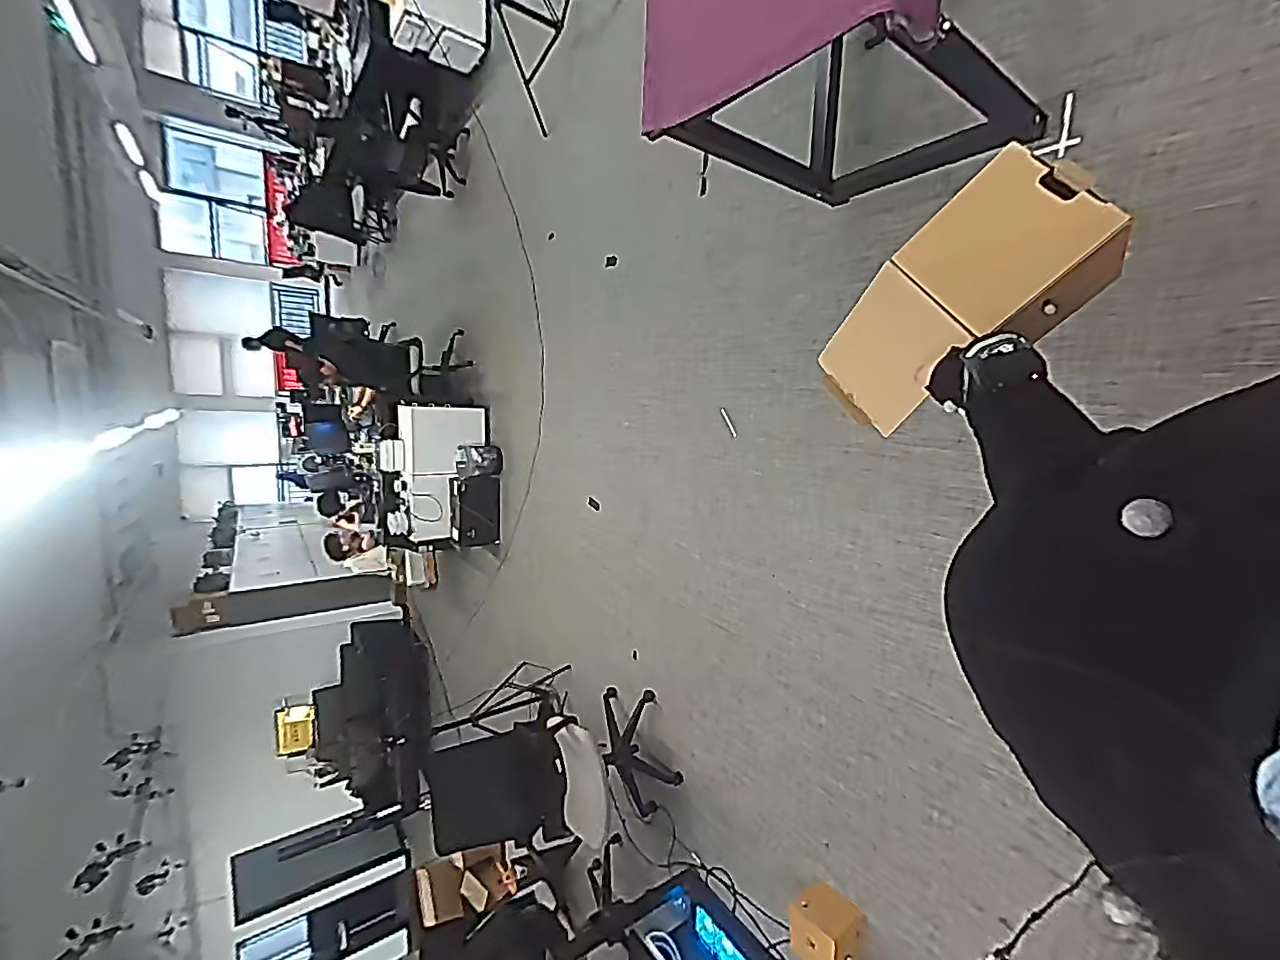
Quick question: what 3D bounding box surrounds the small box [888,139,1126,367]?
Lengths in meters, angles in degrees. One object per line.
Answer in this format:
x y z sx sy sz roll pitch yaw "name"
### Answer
0.459 -0.271 0.685 0.179 0.176 0.168 -44 61 26 "small box"
